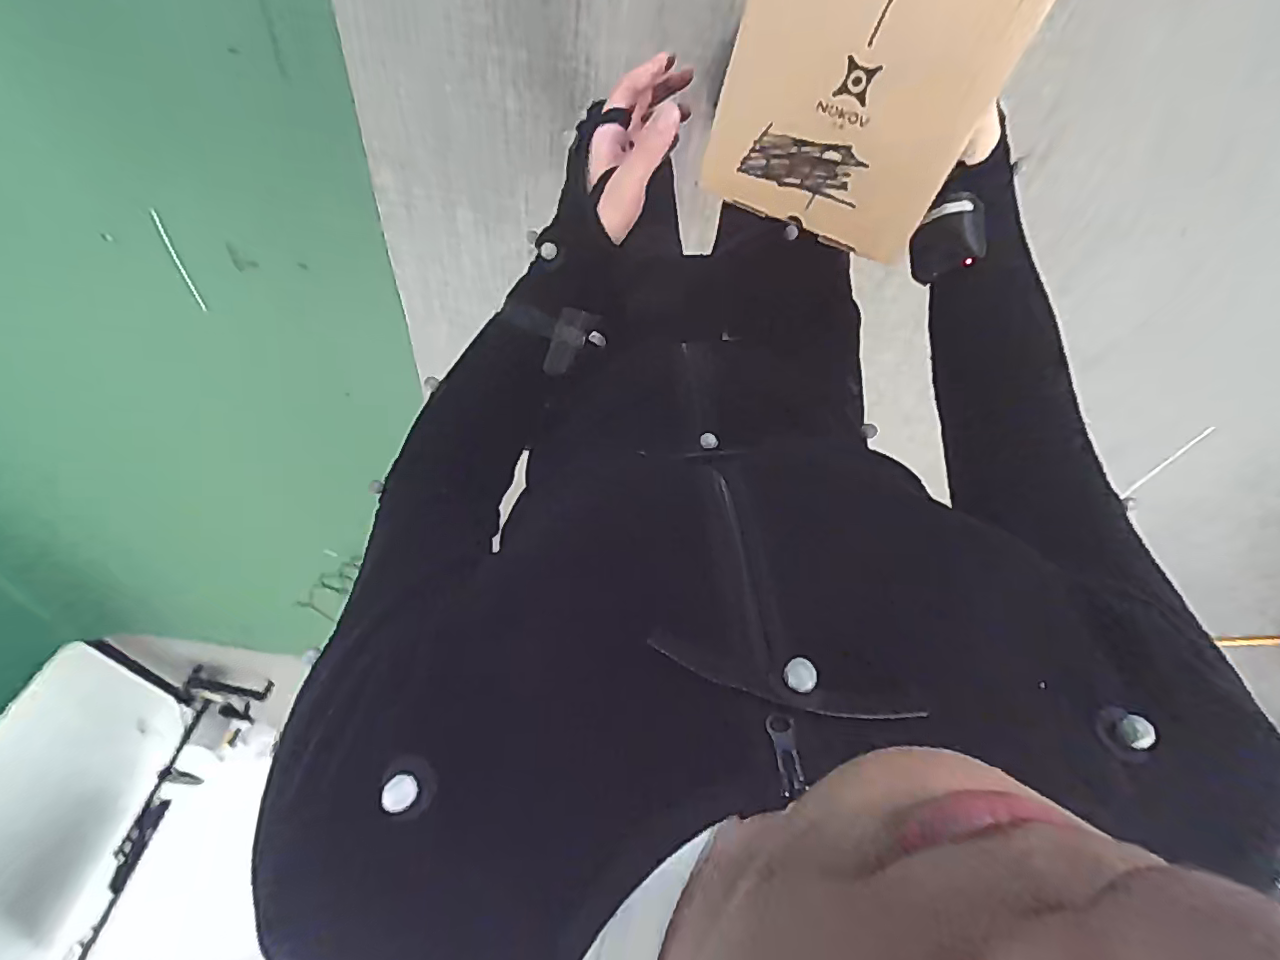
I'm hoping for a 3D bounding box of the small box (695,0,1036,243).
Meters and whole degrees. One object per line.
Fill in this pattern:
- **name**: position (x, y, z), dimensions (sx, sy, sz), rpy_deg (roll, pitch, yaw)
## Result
- **small box**: position (0.162, -0.316, 0.401), dimensions (0.168, 0.176, 0.179), rpy_deg (24, 137, 5)
